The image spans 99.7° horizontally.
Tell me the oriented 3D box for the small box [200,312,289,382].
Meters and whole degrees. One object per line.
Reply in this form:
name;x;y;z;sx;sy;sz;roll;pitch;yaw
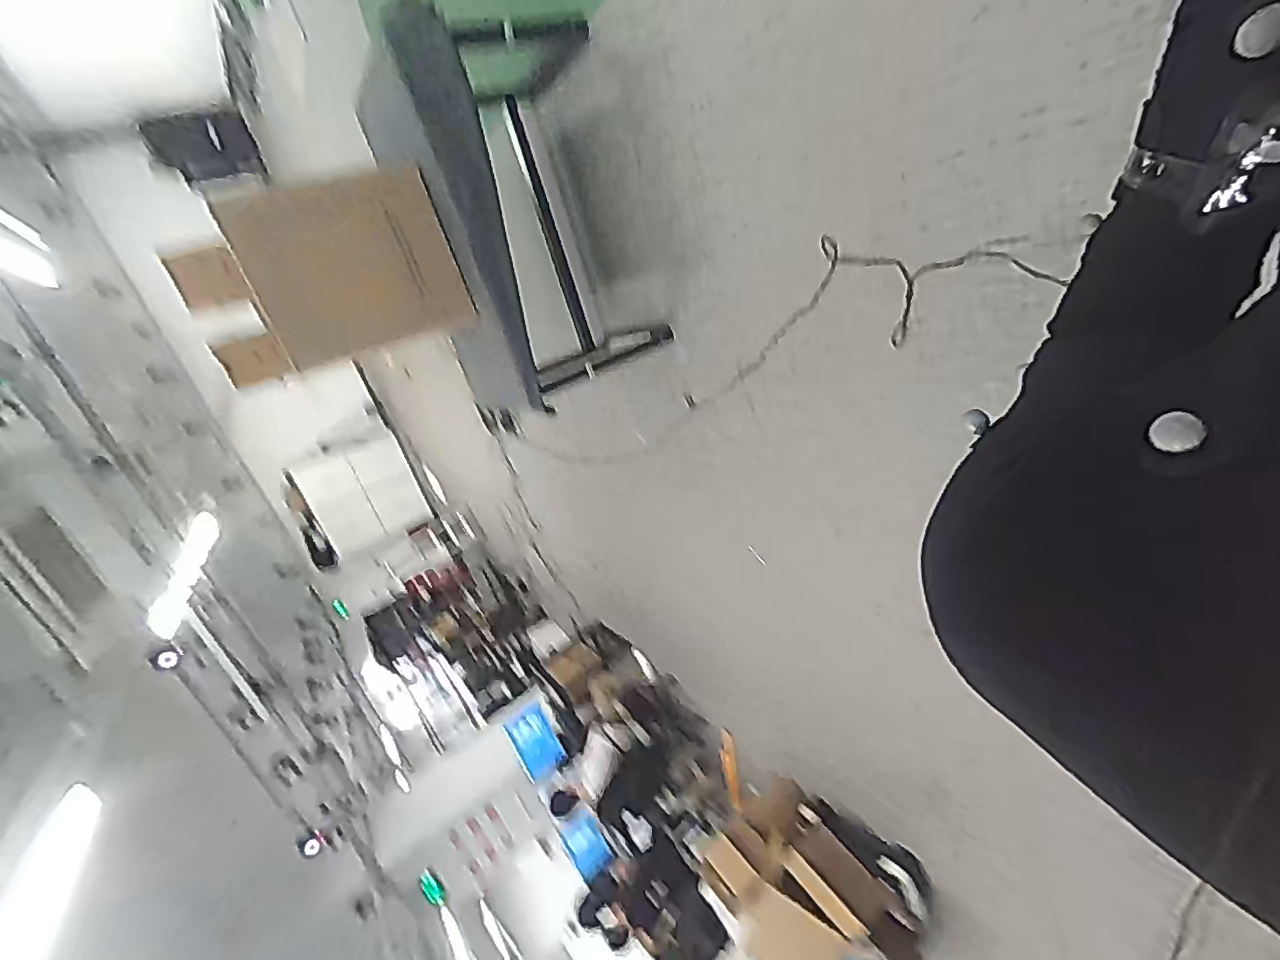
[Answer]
small box;-1.229;-0.414;1.688;0.179;0.176;0.168;11;126;53

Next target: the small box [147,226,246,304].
small box;-1.300;-0.636;1.600;0.179;0.176;0.168;12;125;54
